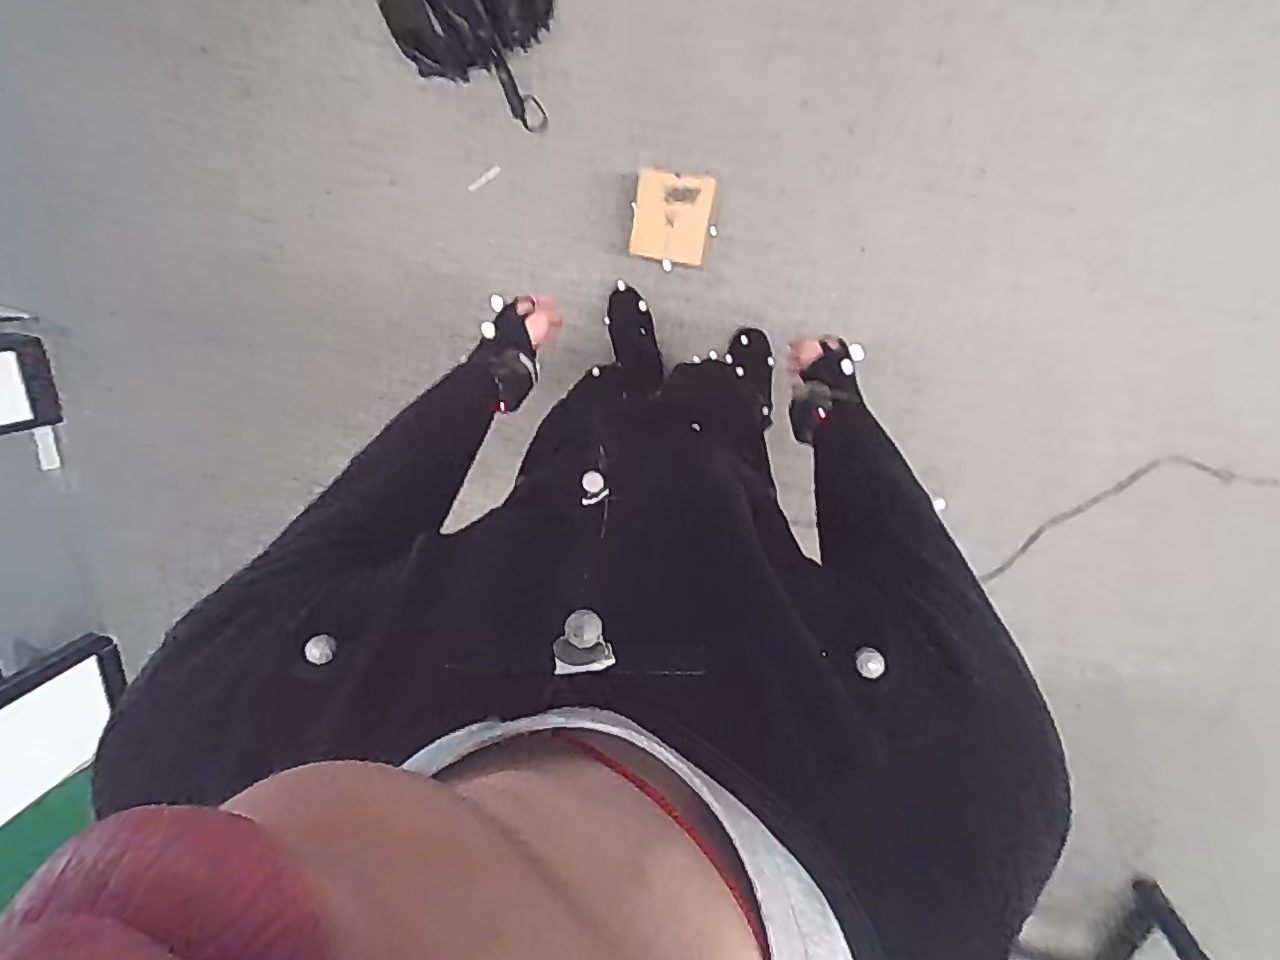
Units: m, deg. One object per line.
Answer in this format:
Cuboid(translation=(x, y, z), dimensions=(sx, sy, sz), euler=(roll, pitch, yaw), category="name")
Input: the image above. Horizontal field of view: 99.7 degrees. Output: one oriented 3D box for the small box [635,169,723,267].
Cuboid(translation=(0.095, -0.604, 1.264), dimensions=(0.168, 0.176, 0.179), euler=(13, 113, 7), category="small box")
